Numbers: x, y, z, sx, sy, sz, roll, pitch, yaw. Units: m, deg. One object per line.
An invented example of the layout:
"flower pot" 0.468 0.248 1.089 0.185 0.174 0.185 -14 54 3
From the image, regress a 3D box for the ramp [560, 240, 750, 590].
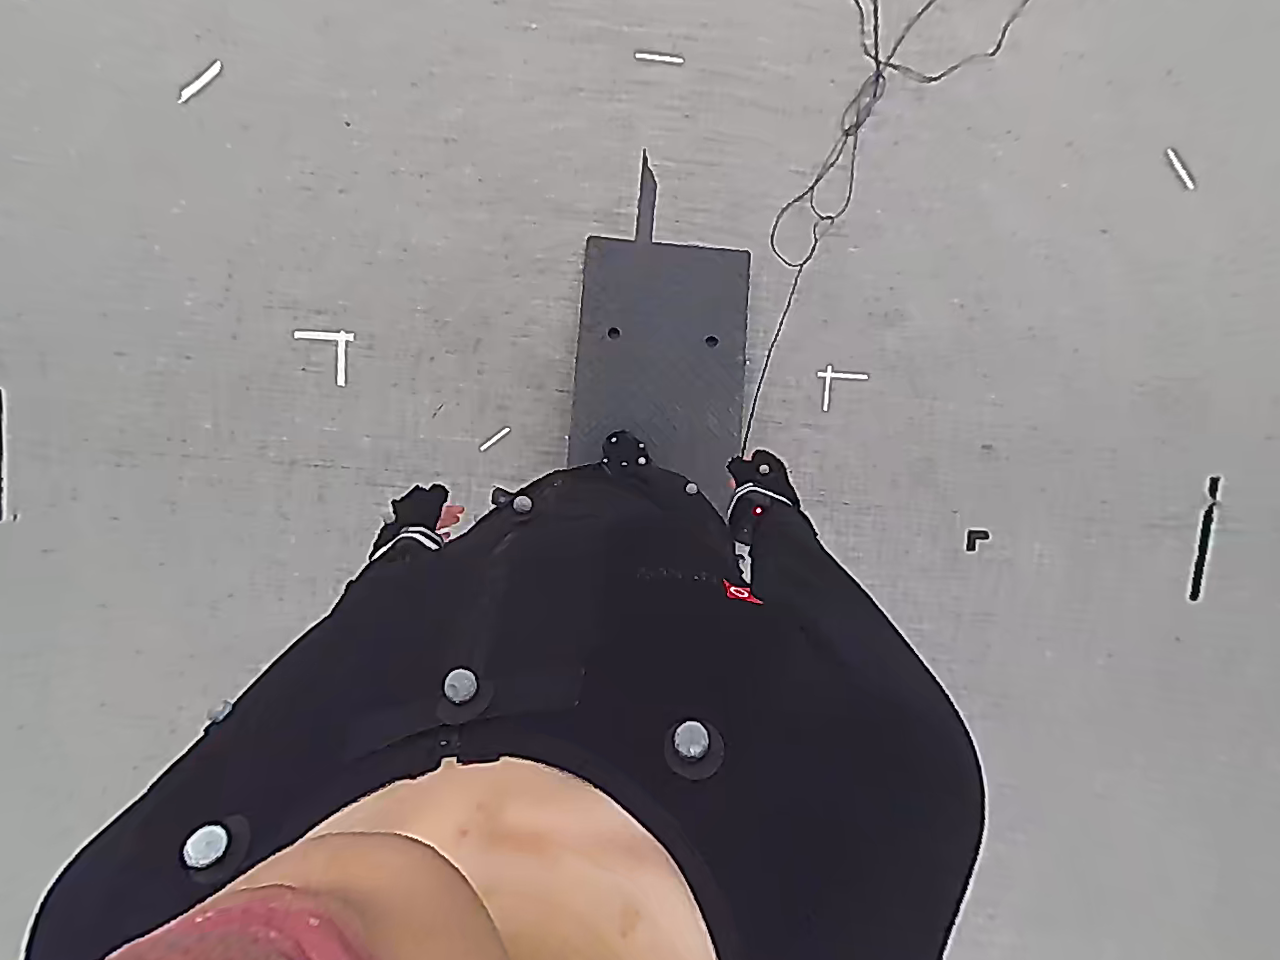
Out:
"ramp" 0.052 -0.204 1.548 0.509 0.206 0.991 3 93 0
